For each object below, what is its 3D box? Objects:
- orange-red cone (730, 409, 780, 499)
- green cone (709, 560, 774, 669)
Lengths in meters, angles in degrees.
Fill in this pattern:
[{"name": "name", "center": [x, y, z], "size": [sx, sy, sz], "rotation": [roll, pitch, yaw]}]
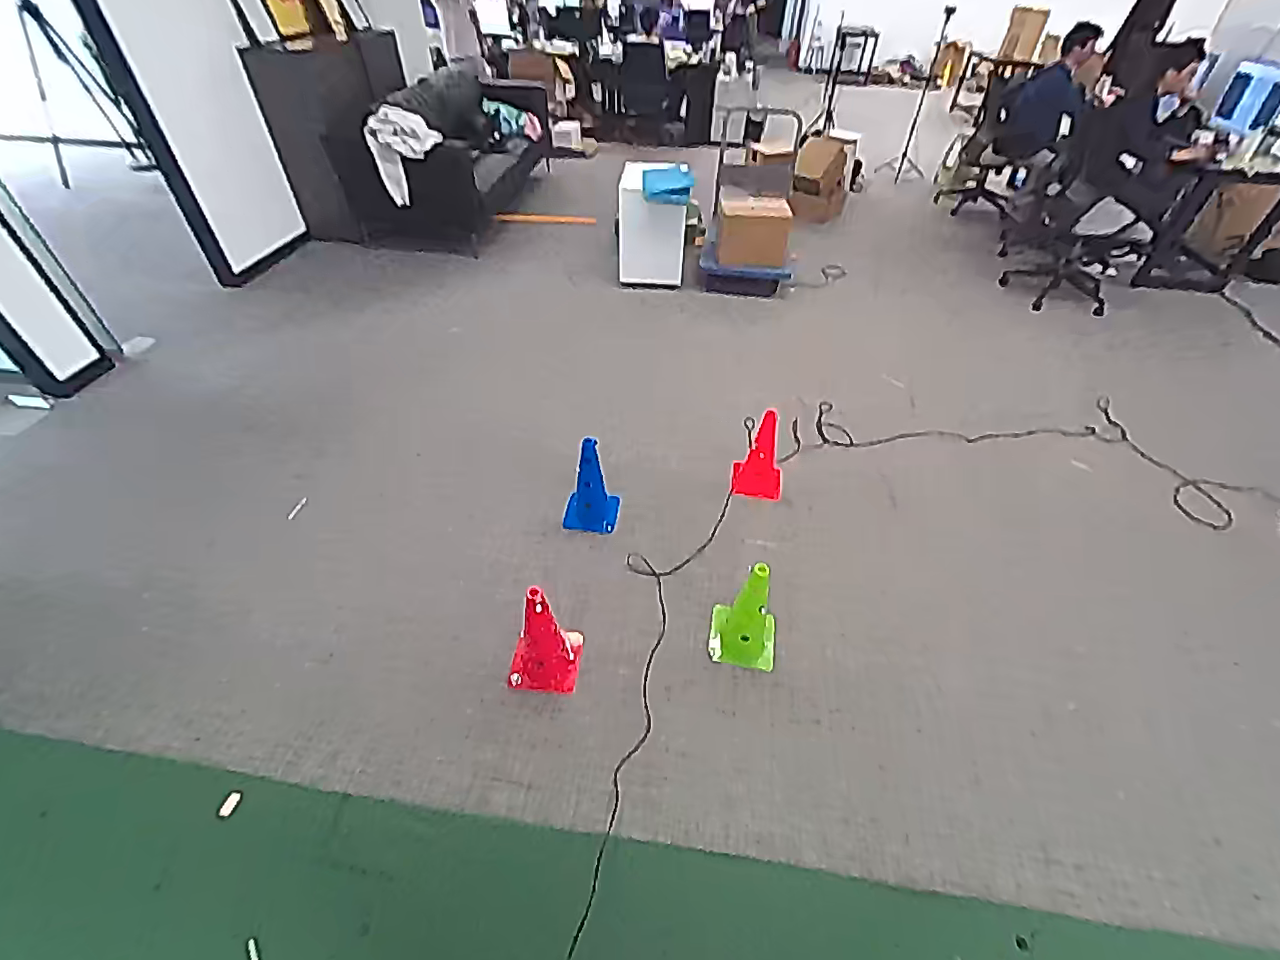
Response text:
[{"name": "orange-red cone", "center": [0.477, -0.123, 2.113], "size": [0.198, 0.360, 0.199], "rotation": [9, 46, 9]}, {"name": "green cone", "center": [0.329, 0.367, 1.589], "size": [0.200, 0.368, 0.202], "rotation": [9, 43, 6]}]
